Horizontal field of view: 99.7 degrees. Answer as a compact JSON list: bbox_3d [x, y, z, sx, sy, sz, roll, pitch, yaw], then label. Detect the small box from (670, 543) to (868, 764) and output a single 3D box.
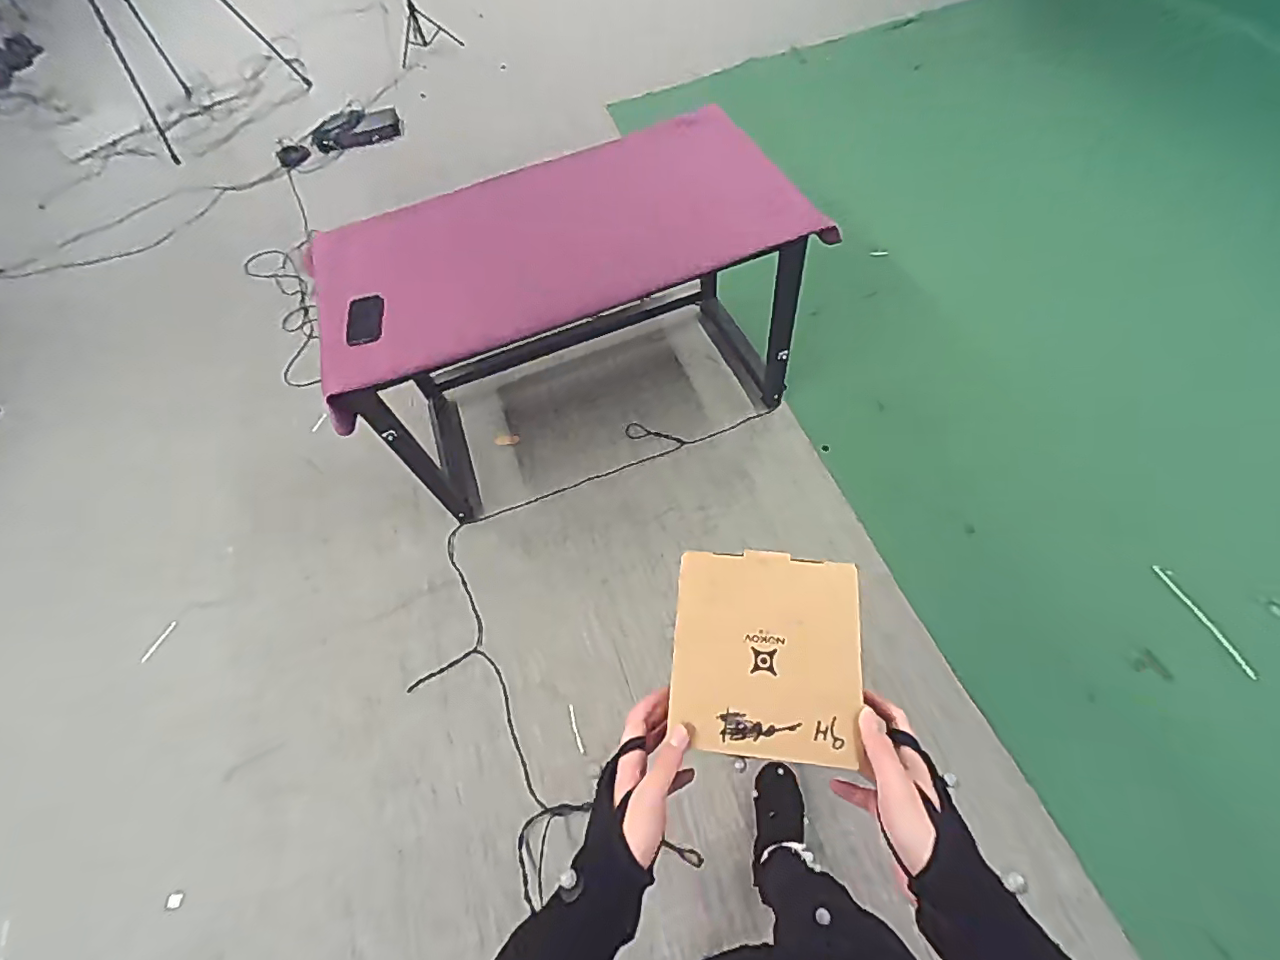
[{"bbox_3d":[0.124,0.176,0.554,0.168,0.176,0.179,3,68,9],"label":"small box"}]
